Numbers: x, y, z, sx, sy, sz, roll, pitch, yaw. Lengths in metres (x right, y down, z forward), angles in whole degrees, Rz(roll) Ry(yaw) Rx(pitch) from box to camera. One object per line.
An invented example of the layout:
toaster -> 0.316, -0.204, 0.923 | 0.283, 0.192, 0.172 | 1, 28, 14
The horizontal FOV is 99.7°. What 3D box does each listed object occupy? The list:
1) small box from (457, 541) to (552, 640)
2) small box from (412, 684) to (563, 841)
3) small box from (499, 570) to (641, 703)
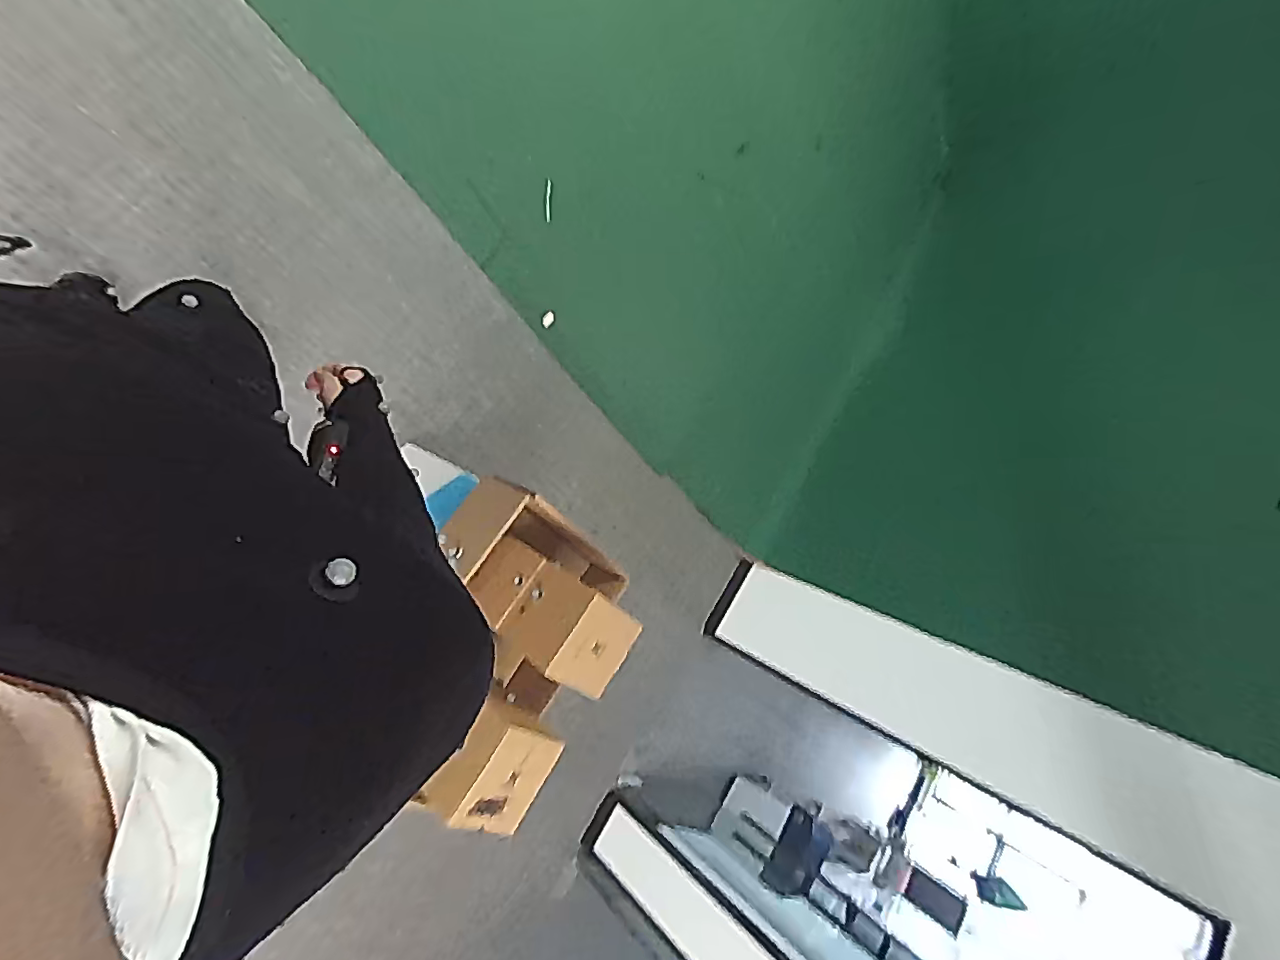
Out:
small box -> -0.252, 0.254, 1.161 | 0.168, 0.176, 0.179 | -55, 136, -15
small box -> -0.282, 0.507, 0.980 | 0.179, 0.176, 0.168 | -57, 136, -16
small box -> -0.136, 0.299, 1.055 | 0.168, 0.176, 0.179 | -55, 135, -15
